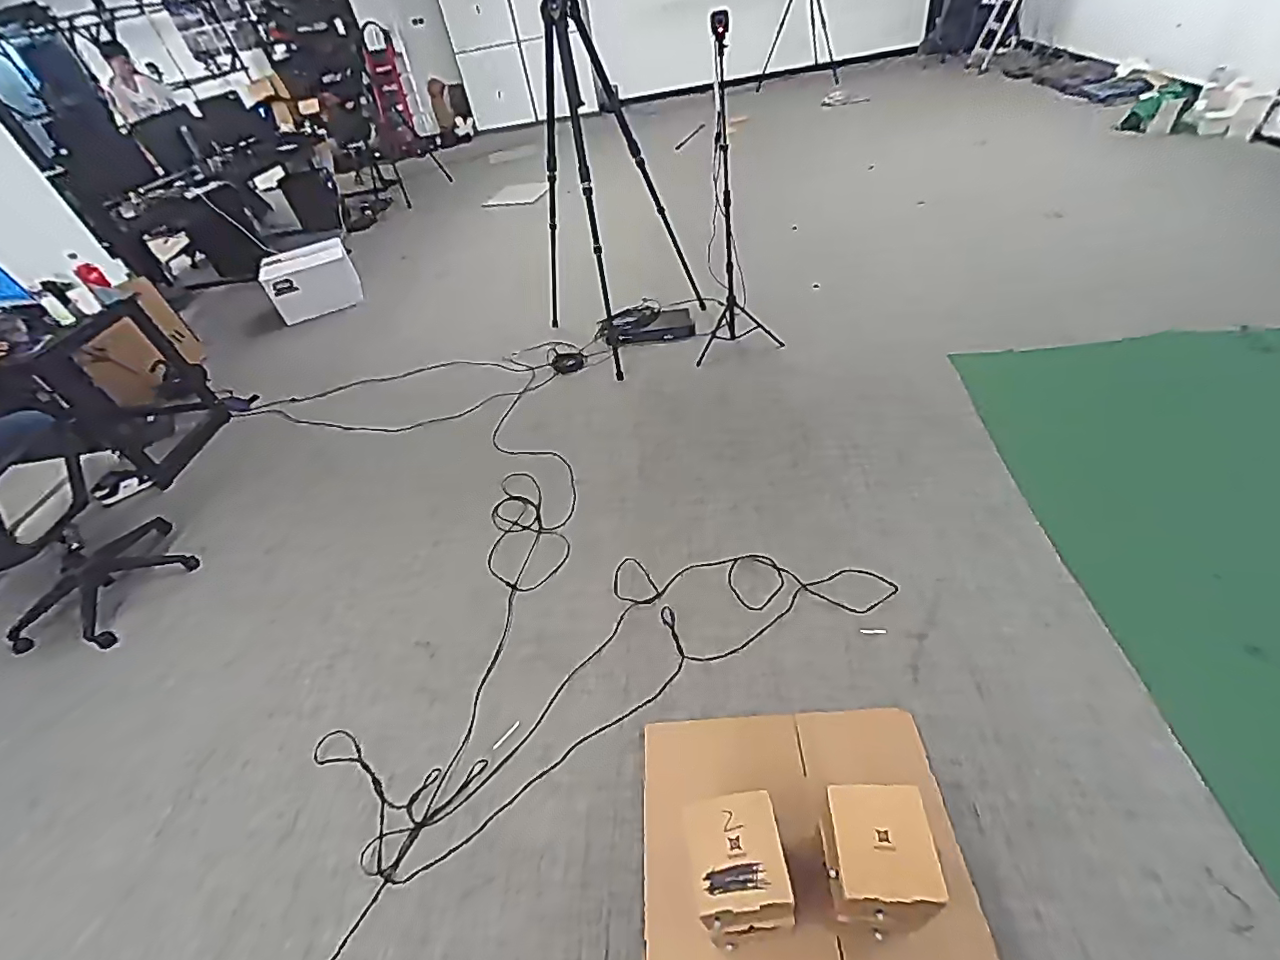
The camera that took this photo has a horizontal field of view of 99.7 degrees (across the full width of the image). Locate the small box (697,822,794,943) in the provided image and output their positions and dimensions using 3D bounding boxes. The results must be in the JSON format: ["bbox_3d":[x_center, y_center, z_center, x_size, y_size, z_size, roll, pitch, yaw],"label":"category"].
[{"bbox_3d":[0.217,0.840,1.124,0.168,0.176,0.179,-10,43,4],"label":"small box"}]

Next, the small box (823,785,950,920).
[{"bbox_3d":[0.440,0.686,0.998,0.168,0.176,0.179,-5,44,9],"label":"small box"}]

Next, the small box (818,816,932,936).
[{"bbox_3d":[0.465,0.806,1.104,0.168,0.176,0.179,-8,44,8],"label":"small box"}]
